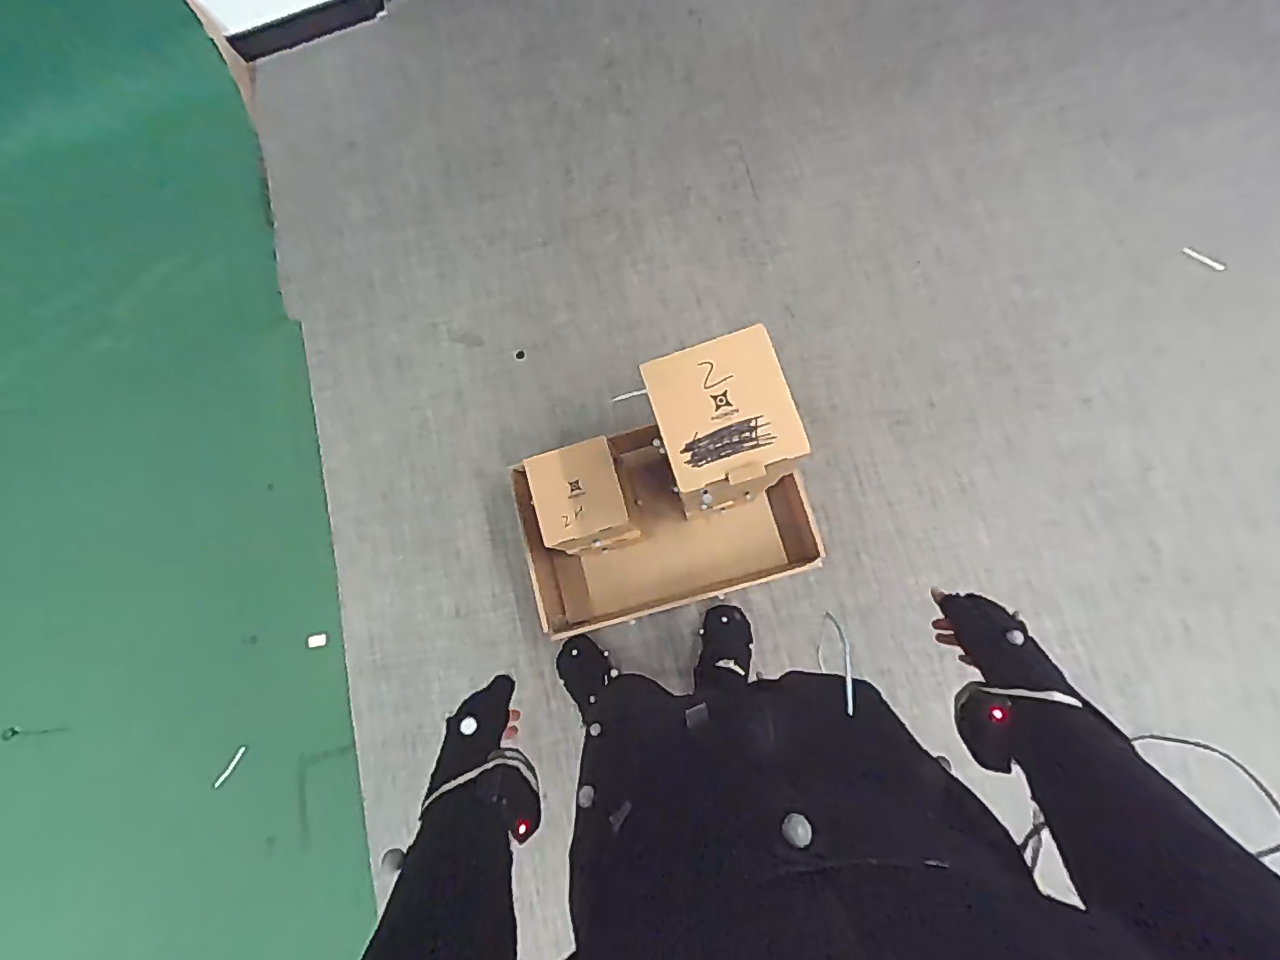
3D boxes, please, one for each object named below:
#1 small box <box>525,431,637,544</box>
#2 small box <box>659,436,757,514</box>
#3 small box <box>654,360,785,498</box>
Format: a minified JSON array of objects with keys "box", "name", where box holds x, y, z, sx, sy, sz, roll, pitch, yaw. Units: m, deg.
[{"box":[-0.111,0.023,1.078,0.168,0.176,0.179,-16,80,3],"name":"small box"},{"box":[0.156,-0.028,1.224,0.168,0.176,0.179,-20,80,5],"name":"small box"},{"box":[0.129,-0.072,0.900,0.168,0.176,0.179,-15,80,4],"name":"small box"}]
